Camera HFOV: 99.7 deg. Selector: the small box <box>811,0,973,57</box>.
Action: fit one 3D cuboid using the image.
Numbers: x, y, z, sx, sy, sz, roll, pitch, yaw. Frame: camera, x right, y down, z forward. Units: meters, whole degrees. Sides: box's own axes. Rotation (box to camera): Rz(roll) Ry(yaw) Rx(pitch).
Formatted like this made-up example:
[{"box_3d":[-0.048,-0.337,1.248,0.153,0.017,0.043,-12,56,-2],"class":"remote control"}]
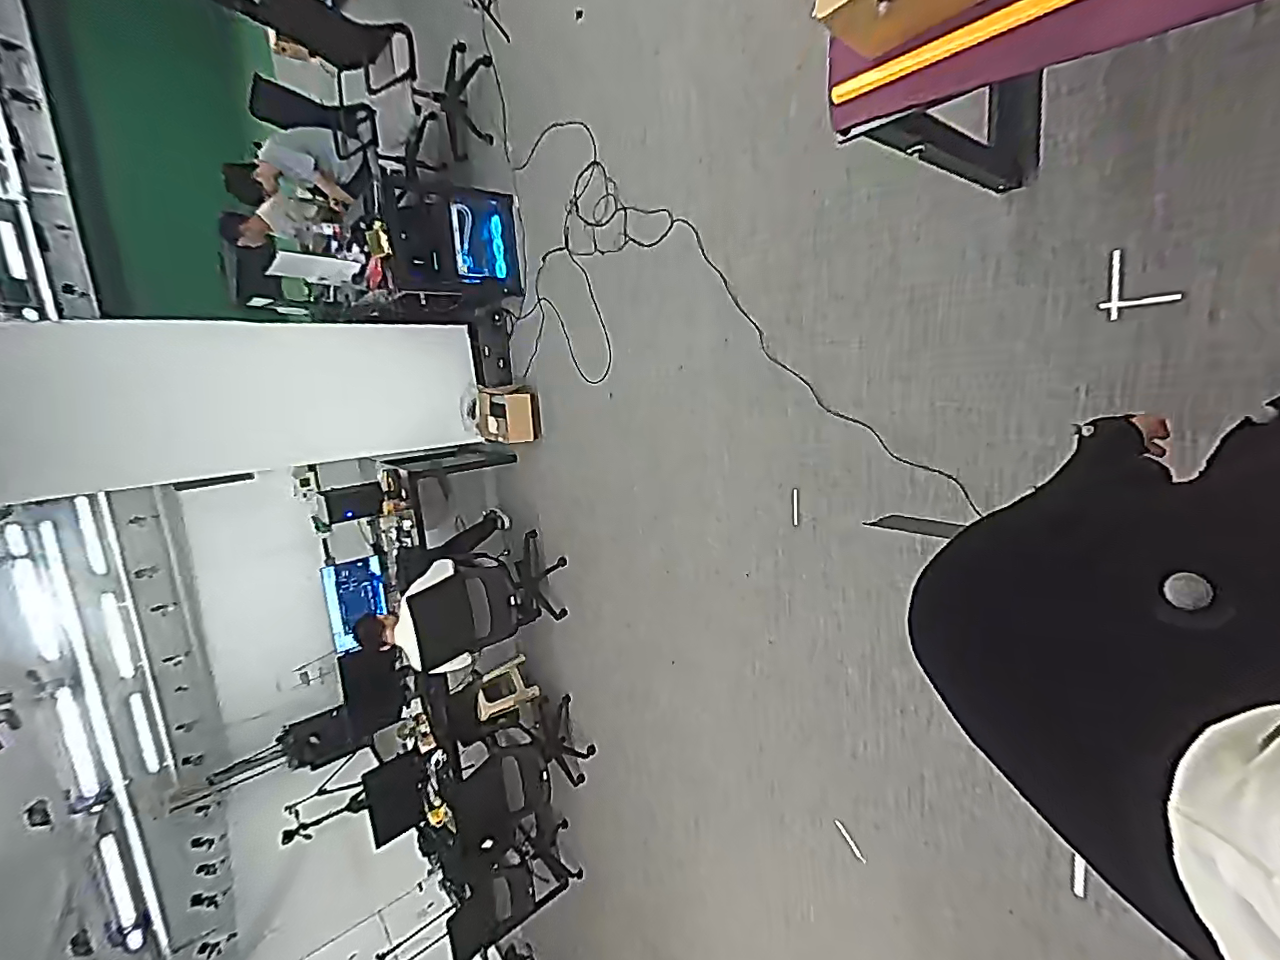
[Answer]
[{"box_3d":[0.351,-0.721,0.727,0.179,0.176,0.168,7,105,50],"class":"small box"}]
